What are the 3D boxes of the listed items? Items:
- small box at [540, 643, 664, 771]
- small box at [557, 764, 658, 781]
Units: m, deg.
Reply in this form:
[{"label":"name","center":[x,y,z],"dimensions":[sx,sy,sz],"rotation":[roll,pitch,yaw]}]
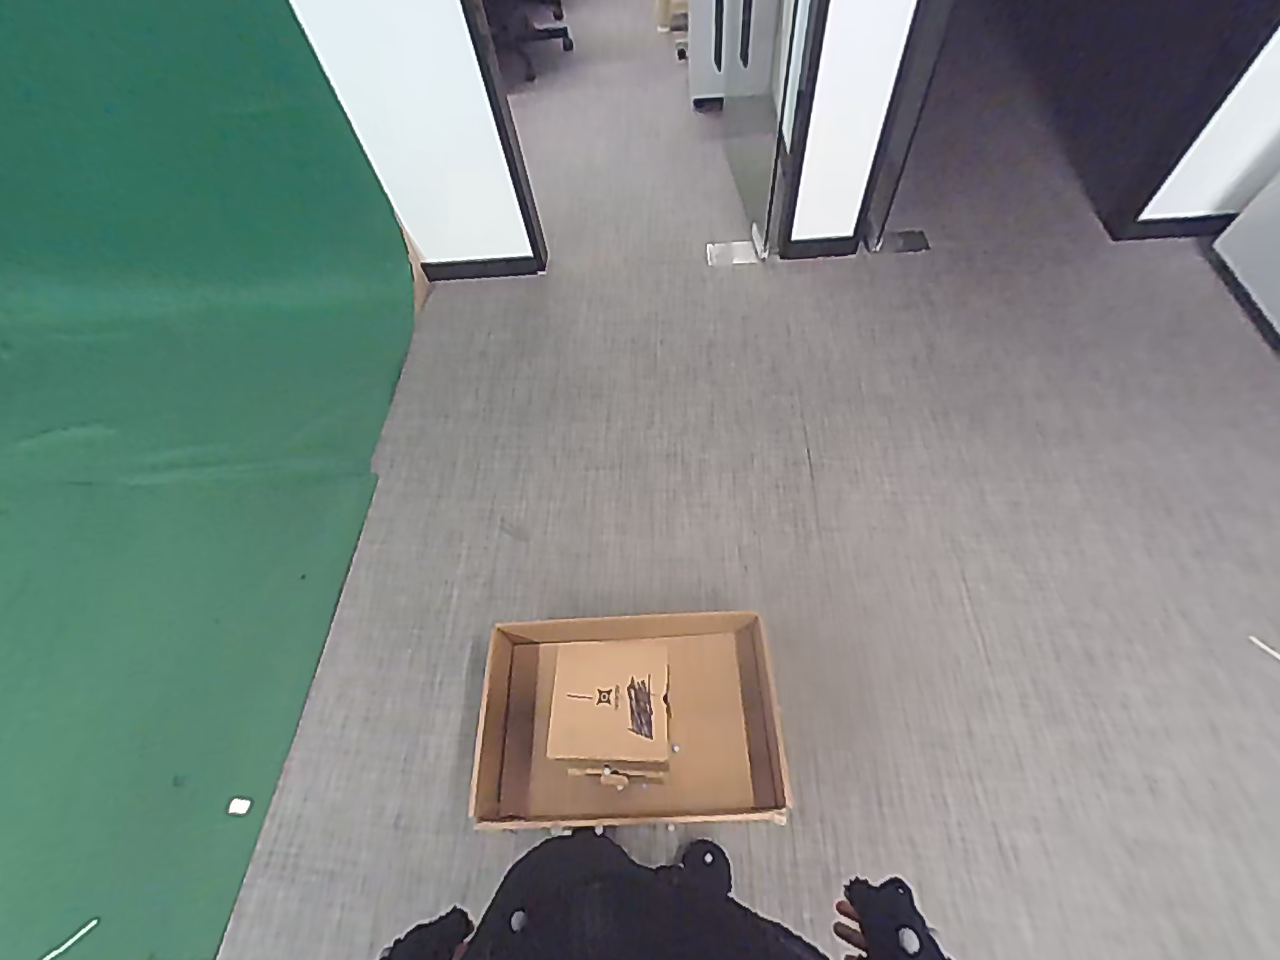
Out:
[{"label":"small box","center":[-0.050,0.375,0.883],"dimensions":[0.179,0.176,0.168],"rotation":[0,57,5]},{"label":"small box","center":[-0.049,0.457,1.007],"dimensions":[0.168,0.176,0.179],"rotation":[0,58,4]}]
